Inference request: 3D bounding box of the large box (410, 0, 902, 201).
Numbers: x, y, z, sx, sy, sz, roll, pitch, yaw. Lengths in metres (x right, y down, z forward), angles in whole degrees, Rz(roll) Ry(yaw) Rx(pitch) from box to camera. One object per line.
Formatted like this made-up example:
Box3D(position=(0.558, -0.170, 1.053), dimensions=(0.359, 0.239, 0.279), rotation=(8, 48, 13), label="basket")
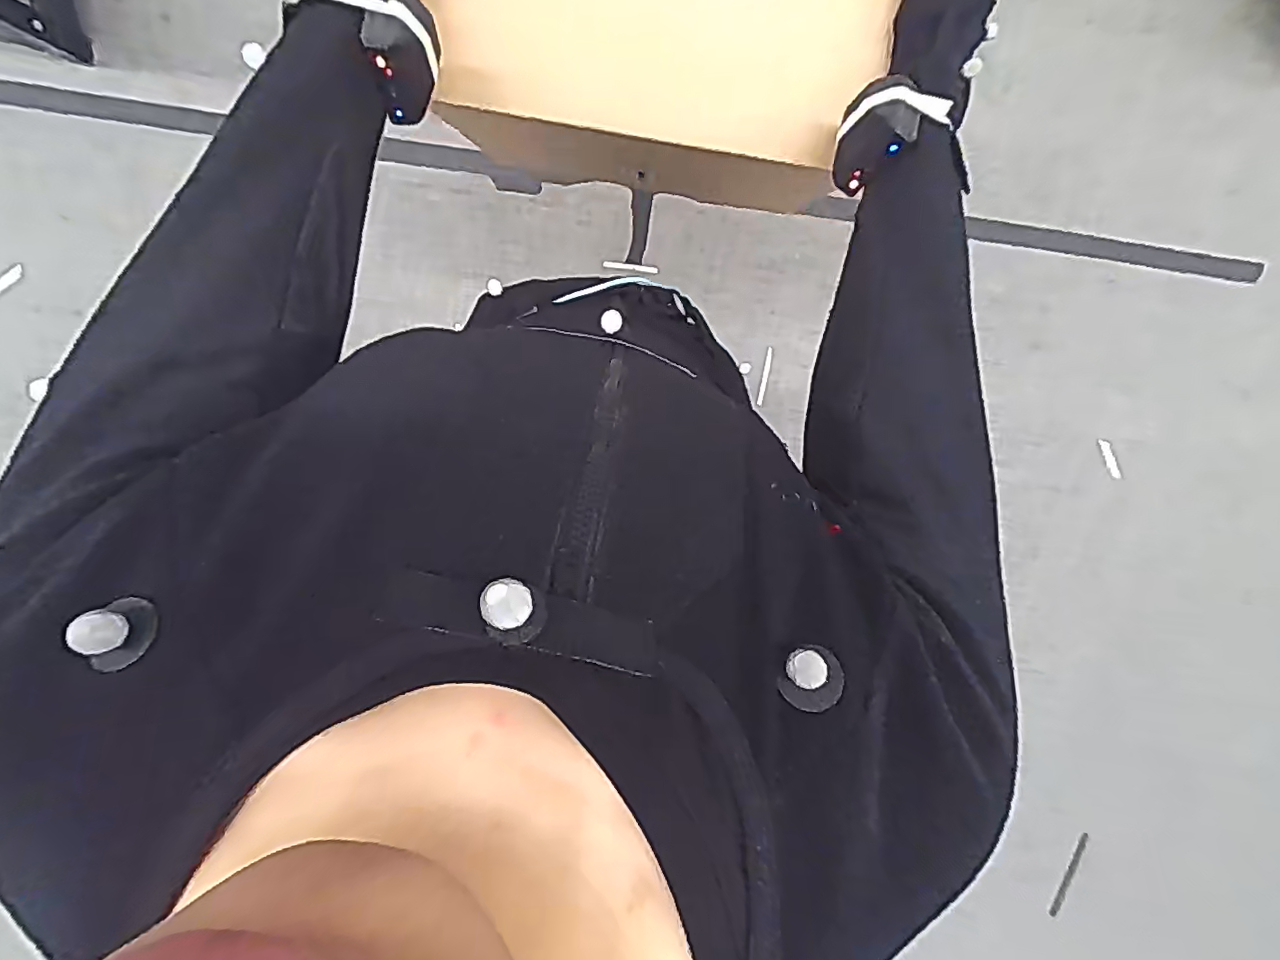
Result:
Box3D(position=(0.027, -0.500, 0.556), dimensions=(0.408, 0.320, 0.320), rotation=(10, 110, -2), label="large box")
